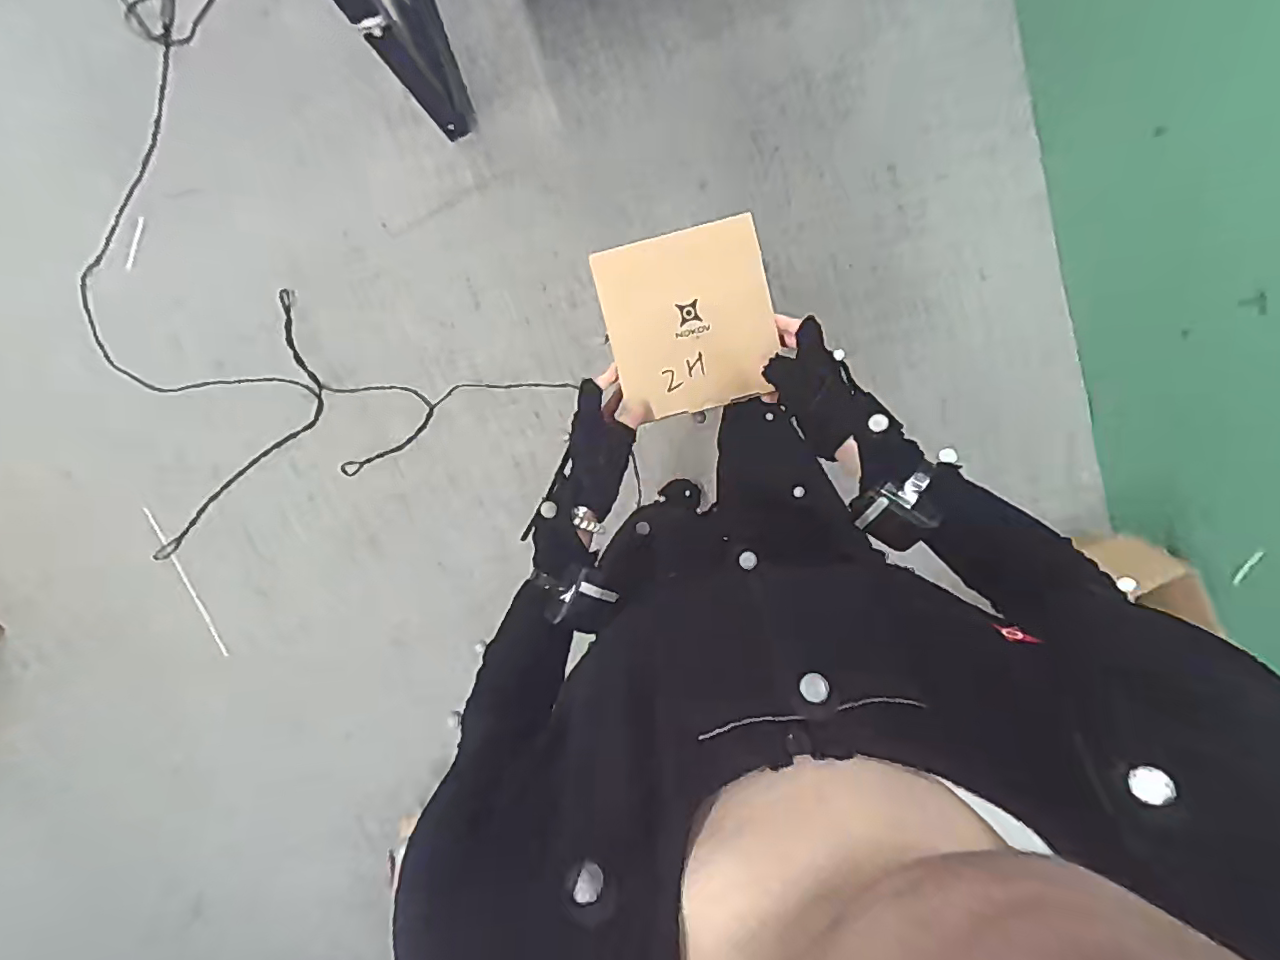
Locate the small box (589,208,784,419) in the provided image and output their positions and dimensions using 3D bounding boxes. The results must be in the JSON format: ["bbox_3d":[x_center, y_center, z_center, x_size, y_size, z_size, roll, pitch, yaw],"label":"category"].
[{"bbox_3d":[0.047,-0.171,0.614,0.168,0.176,0.179,-14,96,3],"label":"small box"}]
